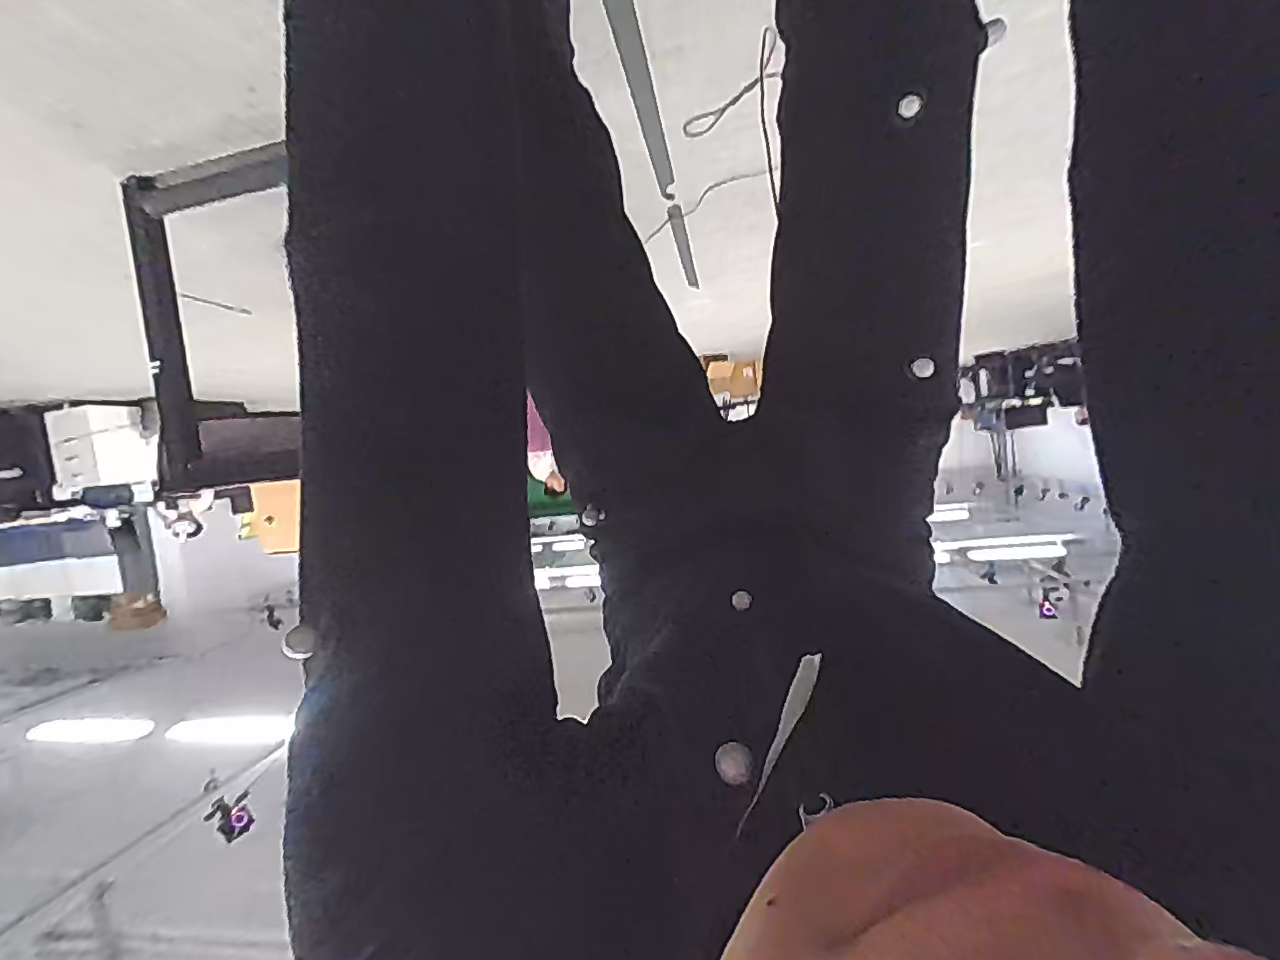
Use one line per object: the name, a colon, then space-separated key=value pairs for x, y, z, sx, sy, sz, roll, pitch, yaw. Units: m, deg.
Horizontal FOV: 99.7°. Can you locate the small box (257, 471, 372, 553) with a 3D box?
small box: x=-0.785 y=0.072 z=1.305 sx=0.179 sy=0.176 sz=0.168 roll=-5 pitch=-174 yaw=15
